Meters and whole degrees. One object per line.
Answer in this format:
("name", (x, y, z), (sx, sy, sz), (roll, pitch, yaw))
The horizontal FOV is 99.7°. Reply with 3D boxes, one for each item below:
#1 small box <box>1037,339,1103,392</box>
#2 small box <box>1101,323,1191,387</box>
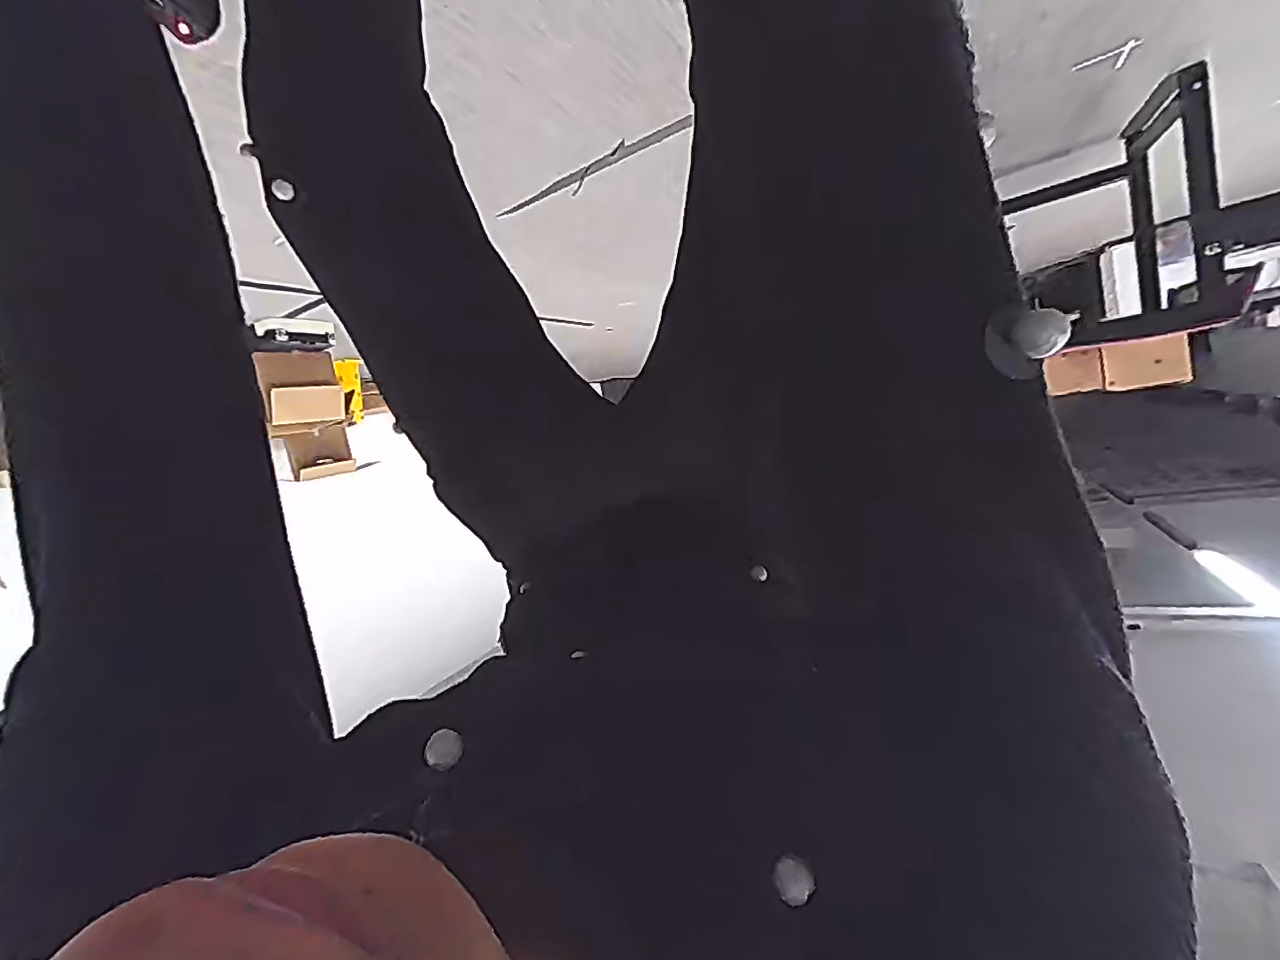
("small box", (1.660, -0.443, 2.094), (0.168, 0.176, 0.179), (-8, -173, 30))
("small box", (1.668, -0.412, 1.791), (0.179, 0.176, 0.168), (-9, -174, 29))
